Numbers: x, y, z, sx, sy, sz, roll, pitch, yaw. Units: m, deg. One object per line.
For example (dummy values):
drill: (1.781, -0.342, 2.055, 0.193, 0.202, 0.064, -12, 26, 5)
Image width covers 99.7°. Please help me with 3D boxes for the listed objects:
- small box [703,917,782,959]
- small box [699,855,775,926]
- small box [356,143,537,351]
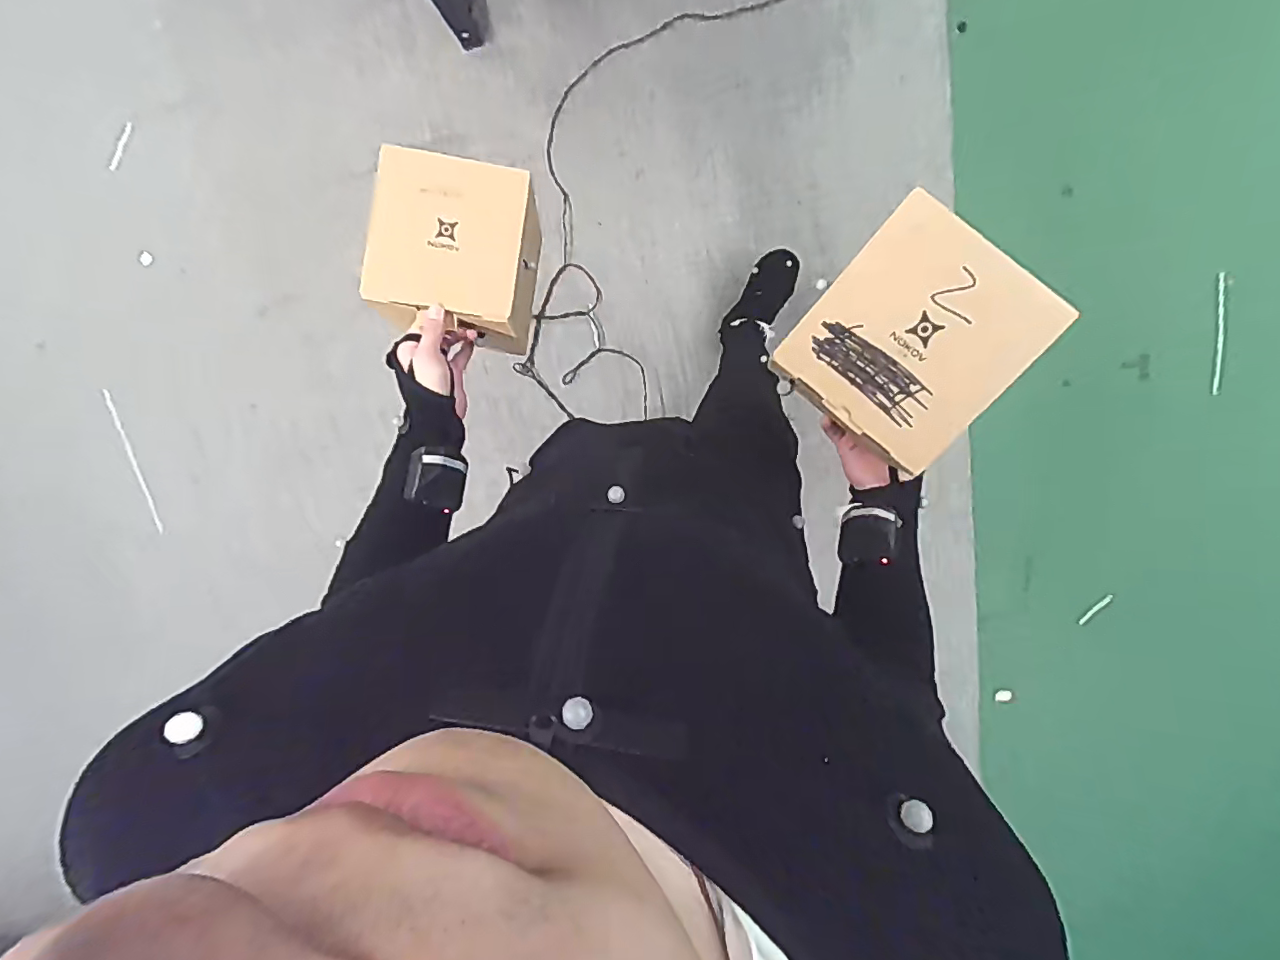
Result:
small box: (0.226, 1.085, 1.153, 0.168, 0.176, 0.179, -7, 100, 5)
small box: (0.236, 1.057, 1.312, 0.168, 0.176, 0.179, -7, 100, 4)
small box: (-0.226, -0.273, 0.676, 0.168, 0.176, 0.179, 8, 88, -6)
